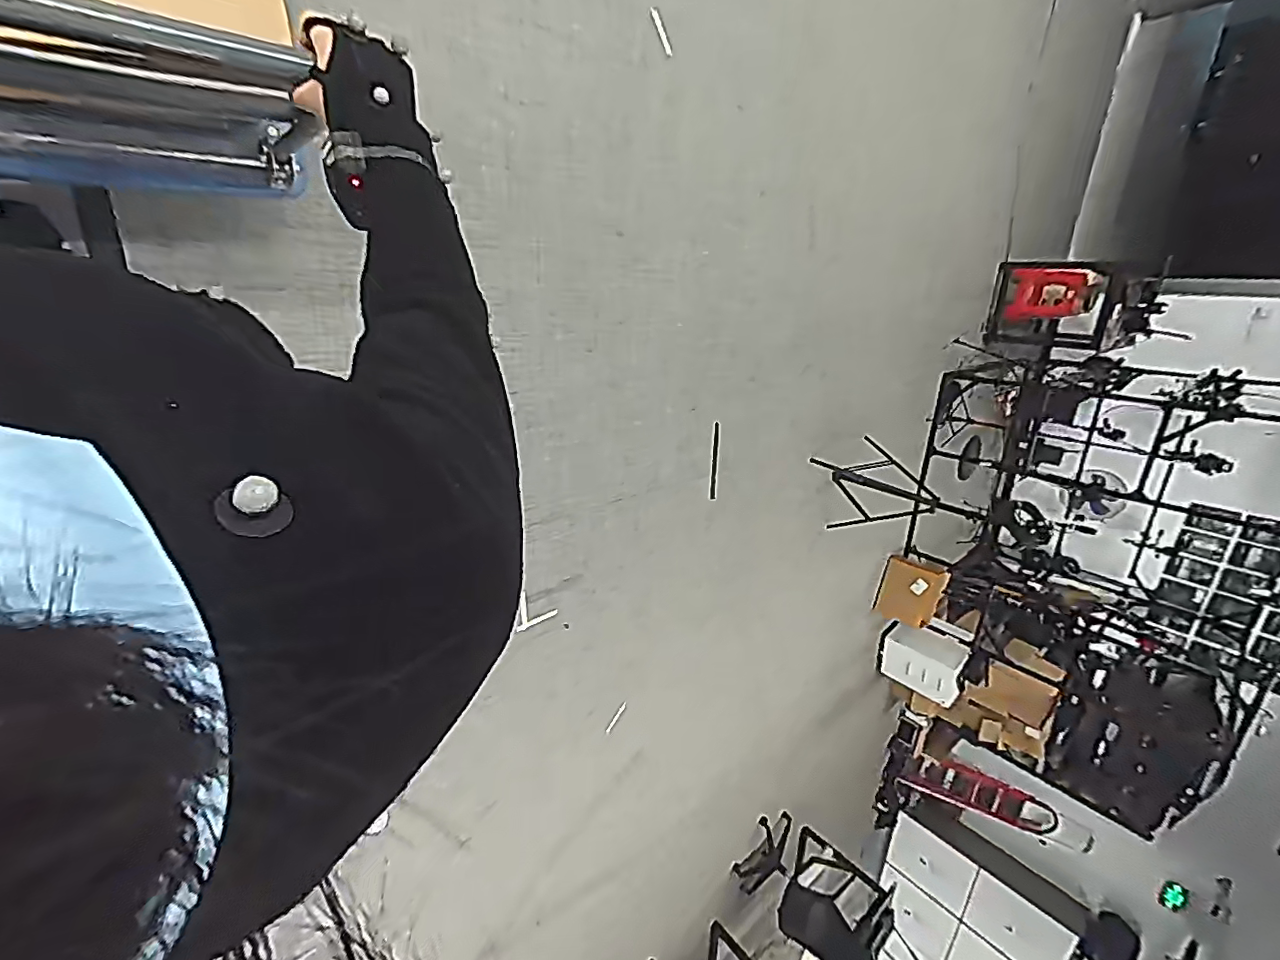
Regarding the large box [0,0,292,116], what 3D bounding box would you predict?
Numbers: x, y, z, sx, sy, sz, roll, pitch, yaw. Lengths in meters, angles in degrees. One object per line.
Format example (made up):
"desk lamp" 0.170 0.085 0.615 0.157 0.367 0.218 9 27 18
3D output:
"large box" -0.753 -0.699 0.699 0.408 0.320 0.320 -23 121 -38
